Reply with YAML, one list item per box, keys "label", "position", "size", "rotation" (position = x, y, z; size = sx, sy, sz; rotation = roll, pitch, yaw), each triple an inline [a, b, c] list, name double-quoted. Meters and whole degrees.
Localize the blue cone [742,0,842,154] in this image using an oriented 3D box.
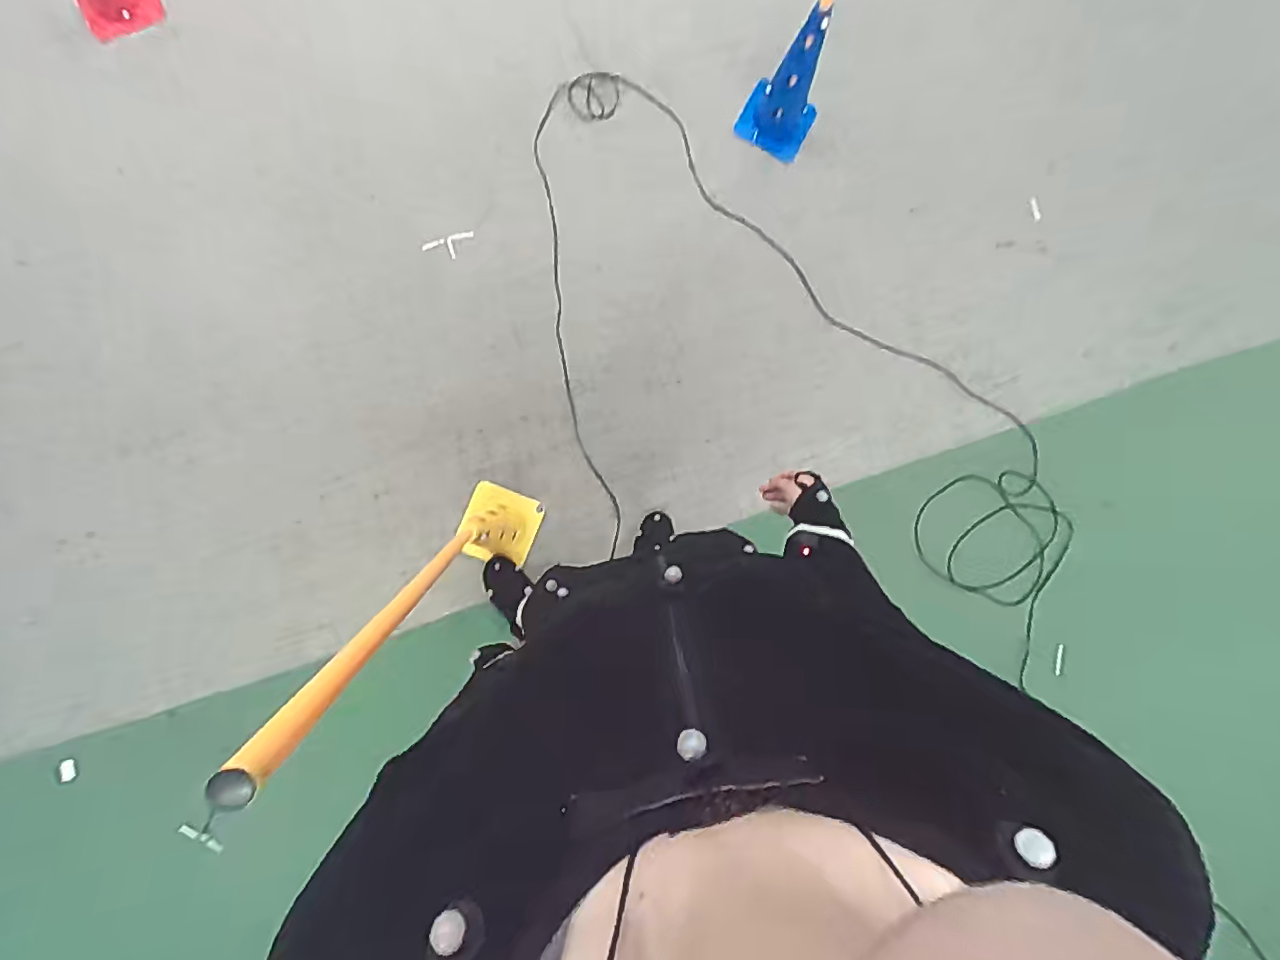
- label: "blue cone"
  position: [0.415, -1.072, 1.404]
  size: [0.192, 0.380, 0.193]
  rotation: [27, 83, -2]
